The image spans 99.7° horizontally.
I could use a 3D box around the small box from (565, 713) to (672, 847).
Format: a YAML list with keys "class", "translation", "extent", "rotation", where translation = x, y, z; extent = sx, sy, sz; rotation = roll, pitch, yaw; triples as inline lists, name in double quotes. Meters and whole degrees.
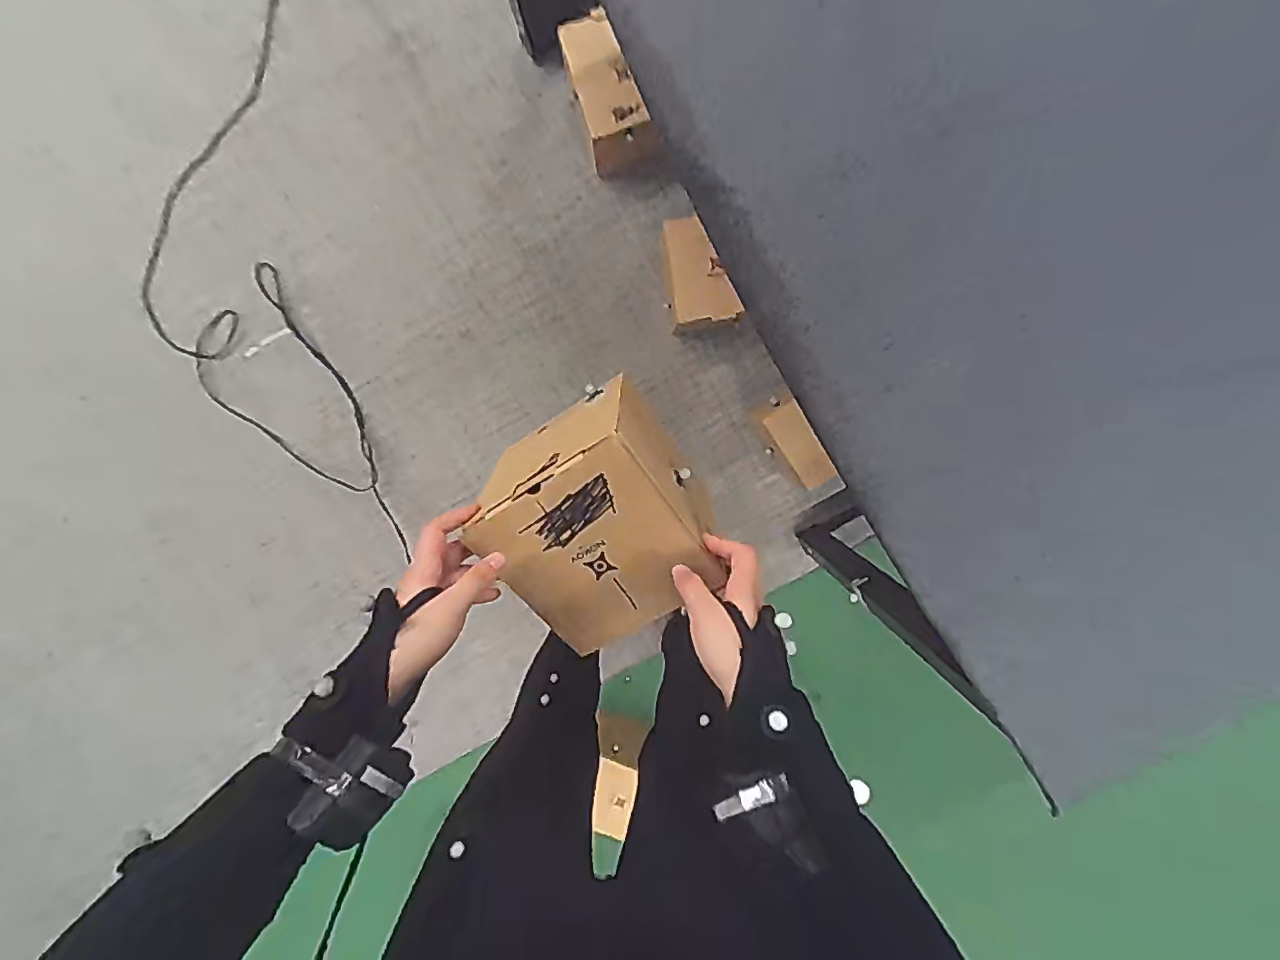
- class: "small box"
  translation: [-0.045, 0.647, 1.186]
  extent: [0.179, 0.176, 0.168]
  rotation: [24, 98, -4]

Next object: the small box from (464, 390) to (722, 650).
- class: "small box"
  translation: [-0.038, 0.027, 0.546]
  extent: [0.168, 0.176, 0.179]
  rotation: [-32, 111, 16]

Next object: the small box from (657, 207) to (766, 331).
- class: "small box"
  translation: [0.128, -0.383, 1.017]
  extent: [0.168, 0.176, 0.179]
  rotation: [-10, 98, 0]

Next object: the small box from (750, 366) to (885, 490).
- class: "small box"
  translation: [0.334, -0.104, 1.064]
  extent: [0.179, 0.176, 0.168]
  rotation: [-35, 99, 5]

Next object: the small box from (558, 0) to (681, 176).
- class: "small box"
  translation: [-0.035, -0.685, 0.966]
  extent: [0.168, 0.176, 0.179]
  rotation: [-18, 98, 2]
